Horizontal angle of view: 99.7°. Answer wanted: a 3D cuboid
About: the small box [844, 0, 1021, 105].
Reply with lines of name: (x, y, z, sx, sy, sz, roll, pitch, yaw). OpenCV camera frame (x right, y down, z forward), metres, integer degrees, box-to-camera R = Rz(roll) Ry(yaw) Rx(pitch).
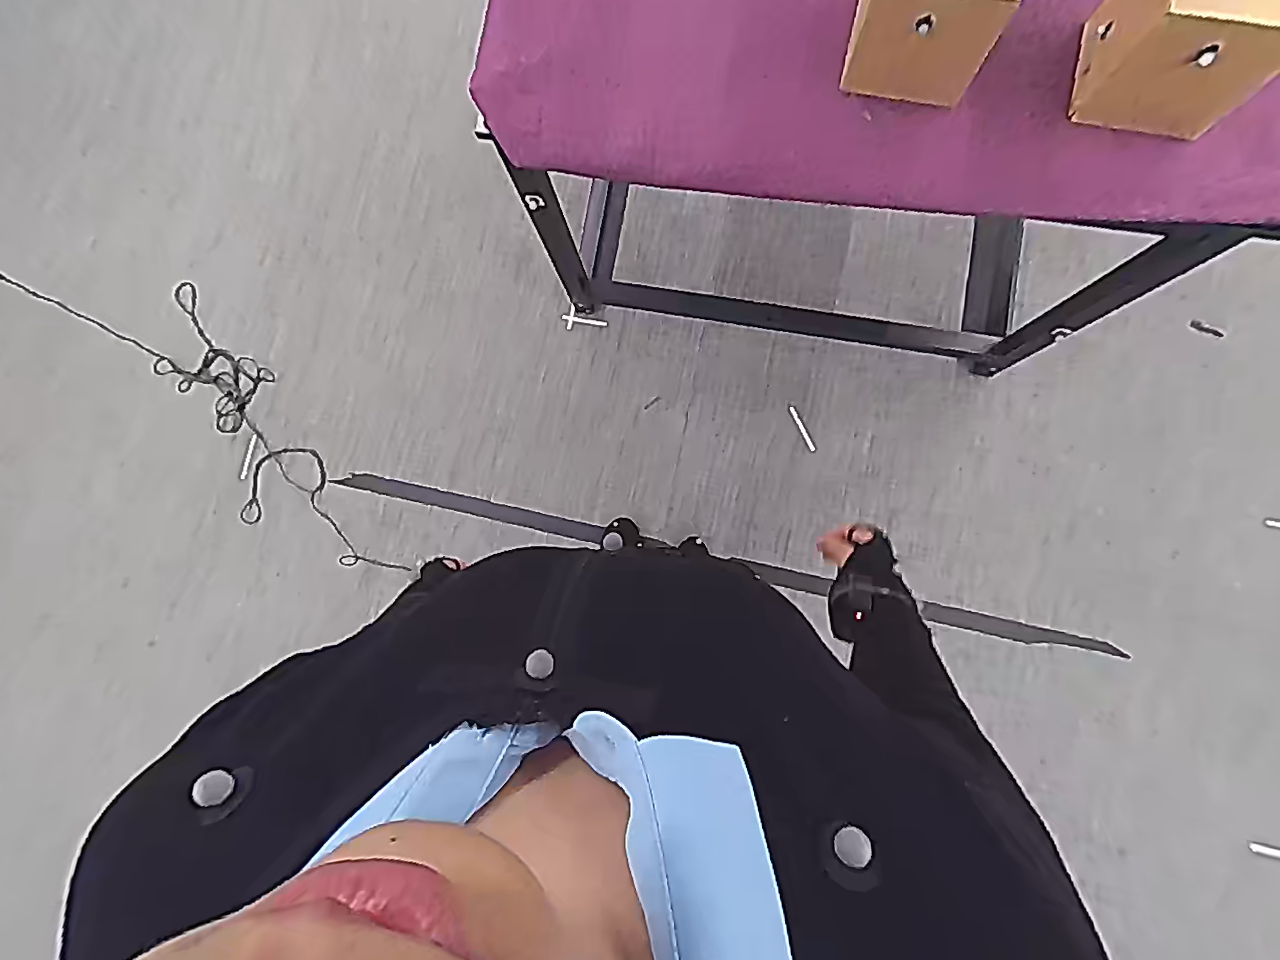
small box: (0.403, -0.663, 0.748, 0.179, 0.176, 0.168, 14, 85, 5)

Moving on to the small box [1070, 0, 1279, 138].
small box: (0.730, -0.594, 0.717, 0.179, 0.176, 0.168, 14, 84, 7)
